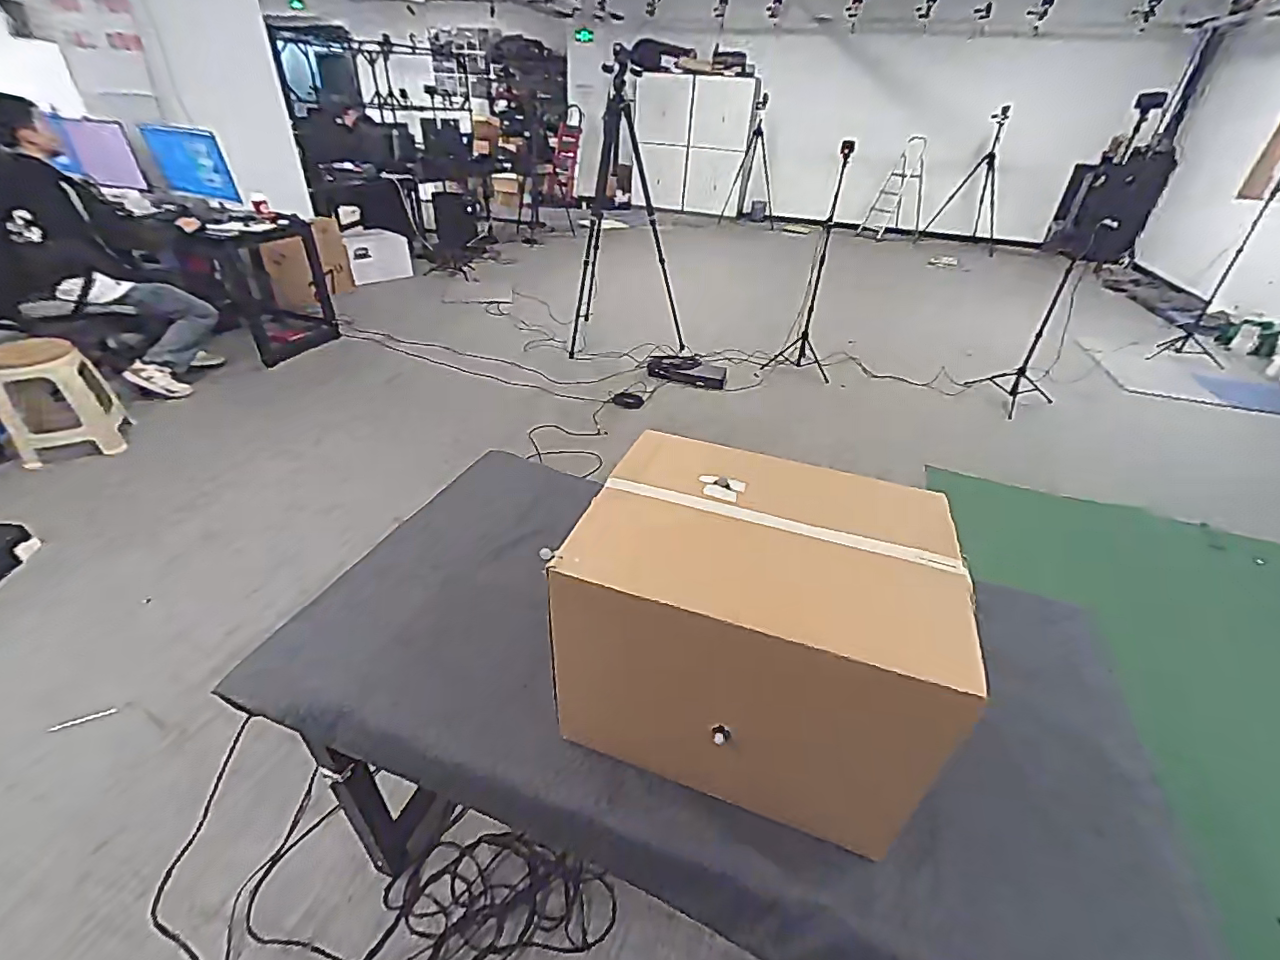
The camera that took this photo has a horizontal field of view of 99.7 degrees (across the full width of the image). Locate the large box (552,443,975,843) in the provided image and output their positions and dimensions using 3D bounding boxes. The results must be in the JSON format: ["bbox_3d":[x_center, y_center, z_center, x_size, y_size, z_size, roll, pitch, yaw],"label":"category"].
[{"bbox_3d":[0.142,0.186,0.705,0.408,0.320,0.320,12,35,15],"label":"large box"}]
